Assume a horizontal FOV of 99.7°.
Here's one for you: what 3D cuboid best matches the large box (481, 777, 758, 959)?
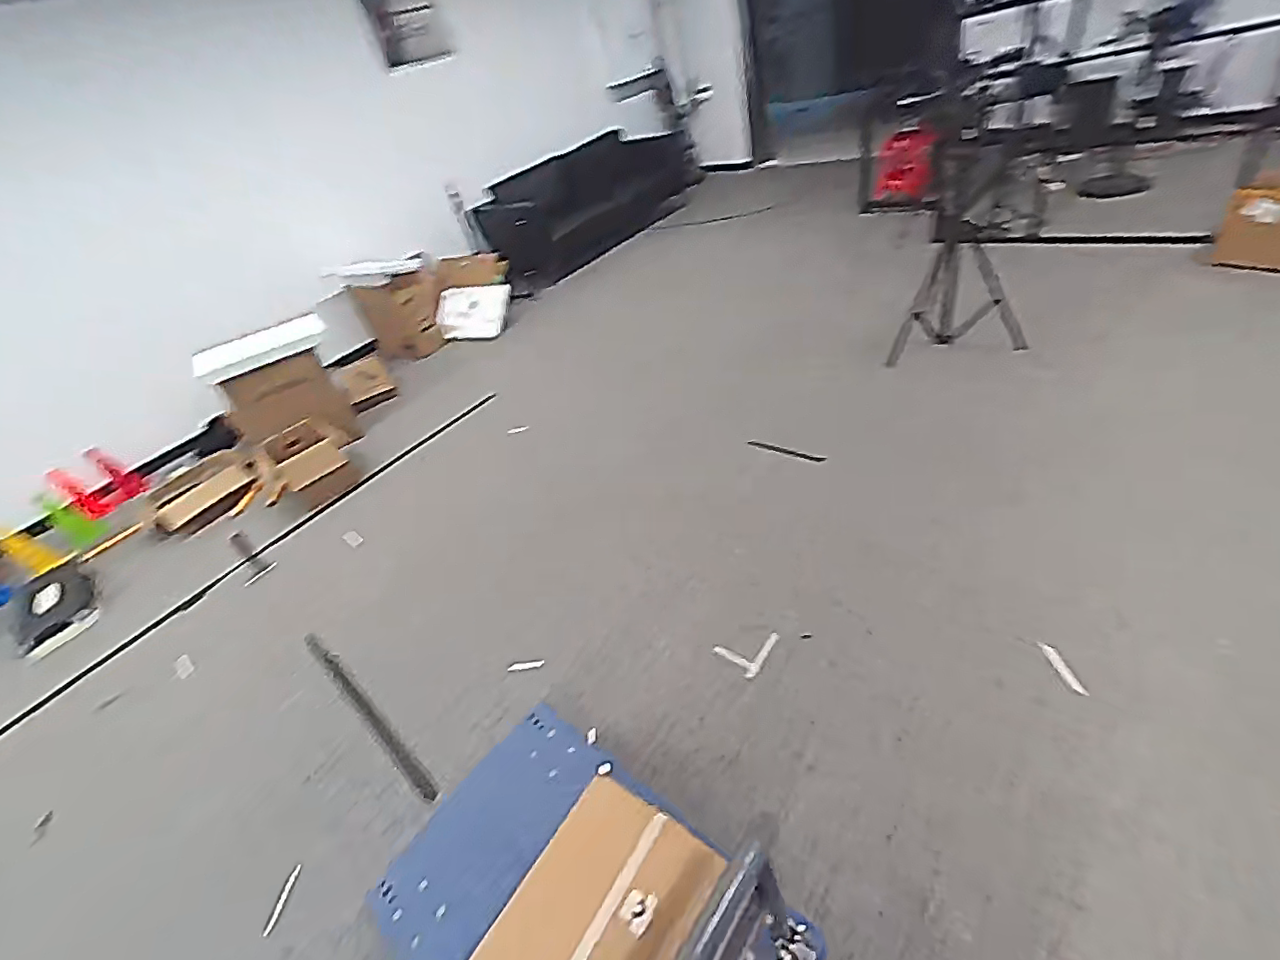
[{"bbox_3d":[-0.030,0.847,0.949,0.320,0.320,0.408,17,47,35],"label":"large box"}]
